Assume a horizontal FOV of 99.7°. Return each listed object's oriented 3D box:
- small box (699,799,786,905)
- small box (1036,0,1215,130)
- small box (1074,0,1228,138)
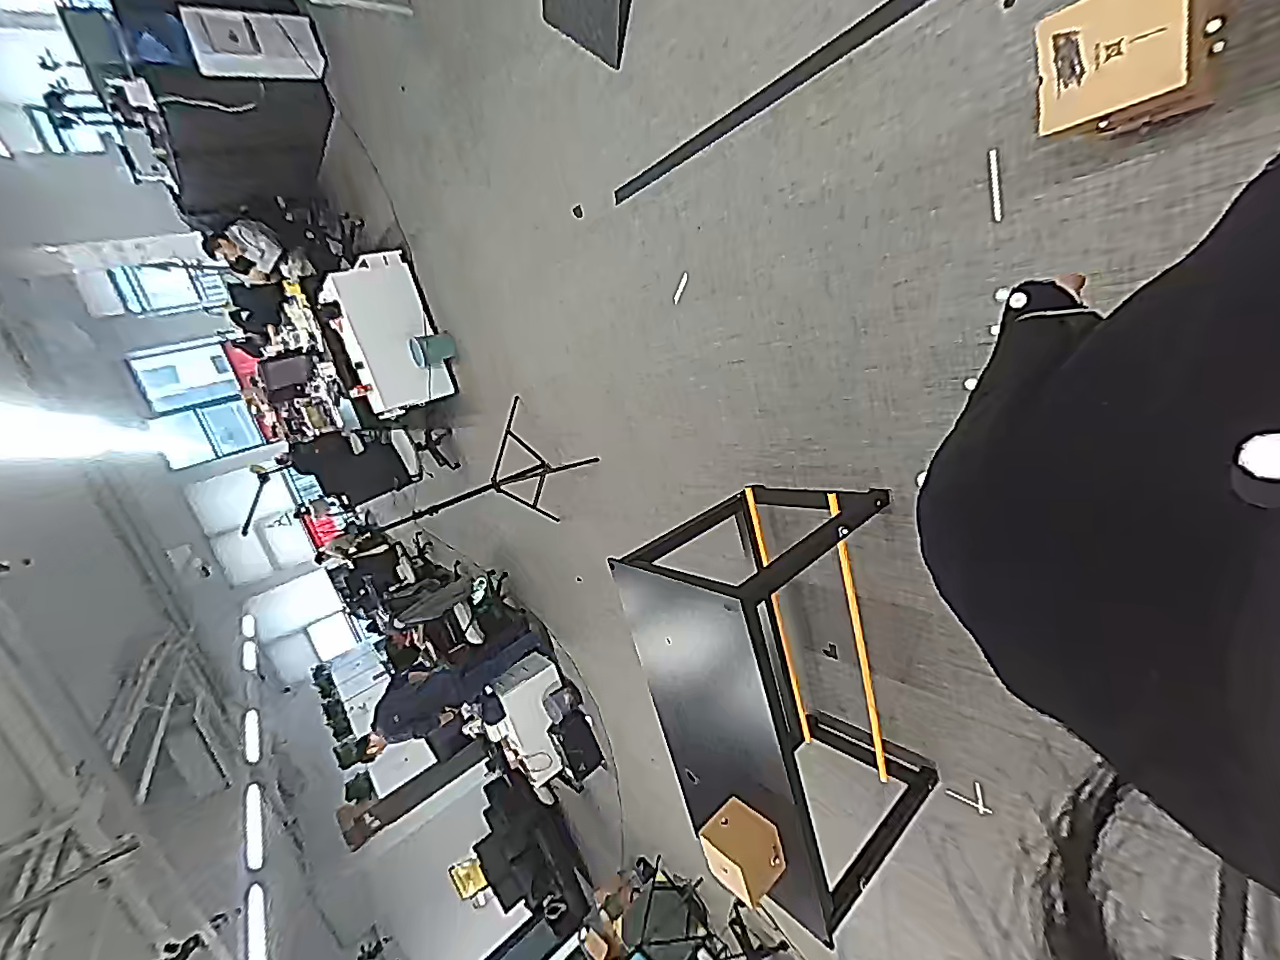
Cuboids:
[{"bbox_3d":[0.311,1.112,1.638,0.179,0.176,0.168,4,116,53],"label":"small box"},{"bbox_3d":[0.746,-0.664,0.835,0.179,0.176,0.168,8,118,52],"label":"small box"},{"bbox_3d":[0.872,-0.720,0.927,0.168,0.176,0.179,8,119,53],"label":"small box"}]
